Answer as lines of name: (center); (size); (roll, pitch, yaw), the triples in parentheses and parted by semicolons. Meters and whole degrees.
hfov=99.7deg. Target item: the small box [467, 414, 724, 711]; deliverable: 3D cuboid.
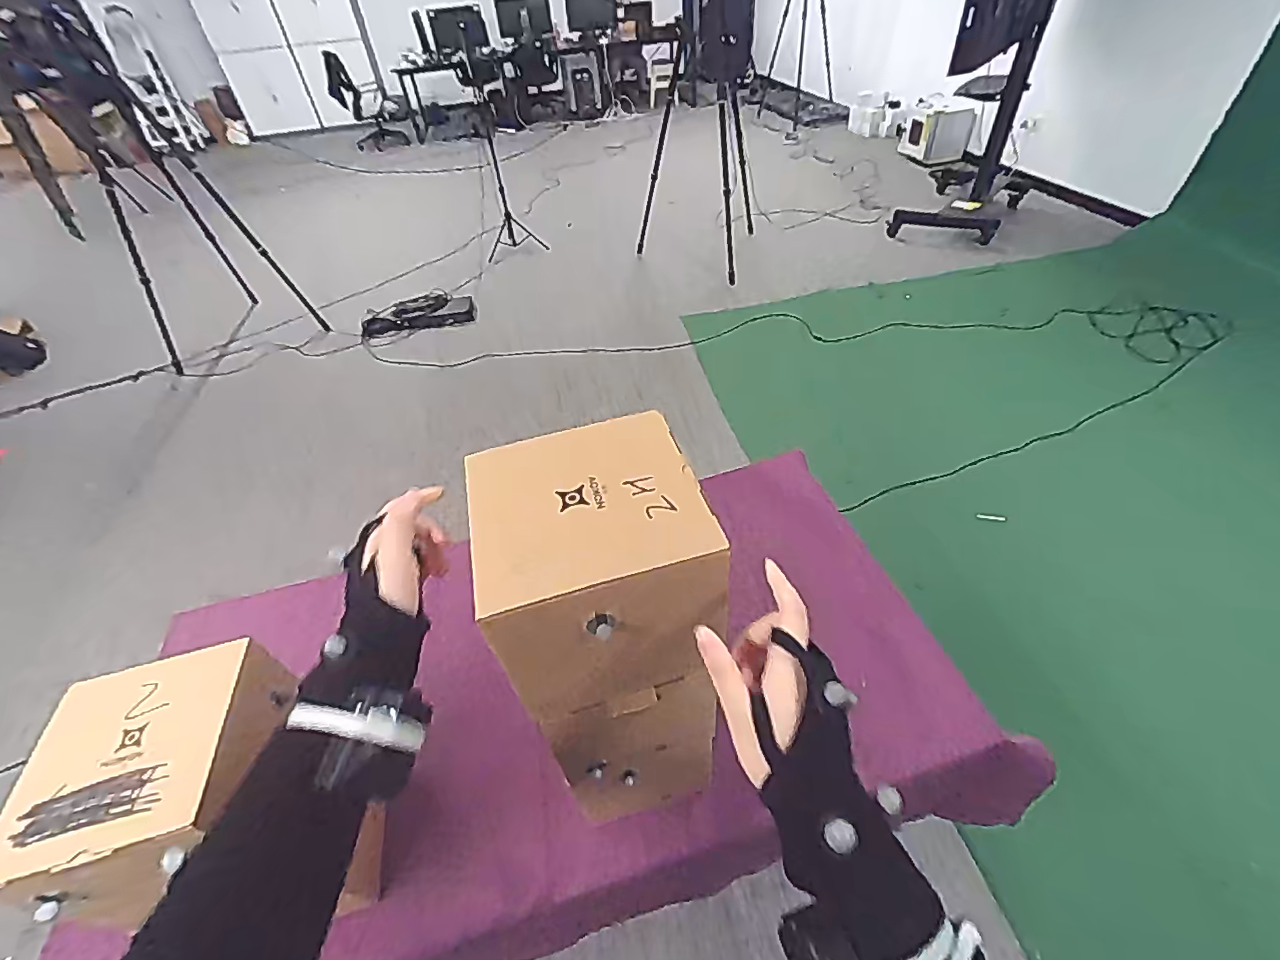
small box: (-0.037, 0.073, 0.468); (0.179, 0.176, 0.168); (-14, 46, -8)

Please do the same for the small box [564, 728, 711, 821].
small box: (-0.014, 0.304, 0.702); (0.168, 0.176, 0.179); (-15, 45, -7)

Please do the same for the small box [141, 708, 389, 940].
small box: (-0.417, 0.409, 0.644); (0.168, 0.176, 0.179); (-14, 46, -7)

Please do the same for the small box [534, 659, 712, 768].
small box: (-0.026, 0.187, 0.587); (0.168, 0.176, 0.179); (-14, 45, -8)
